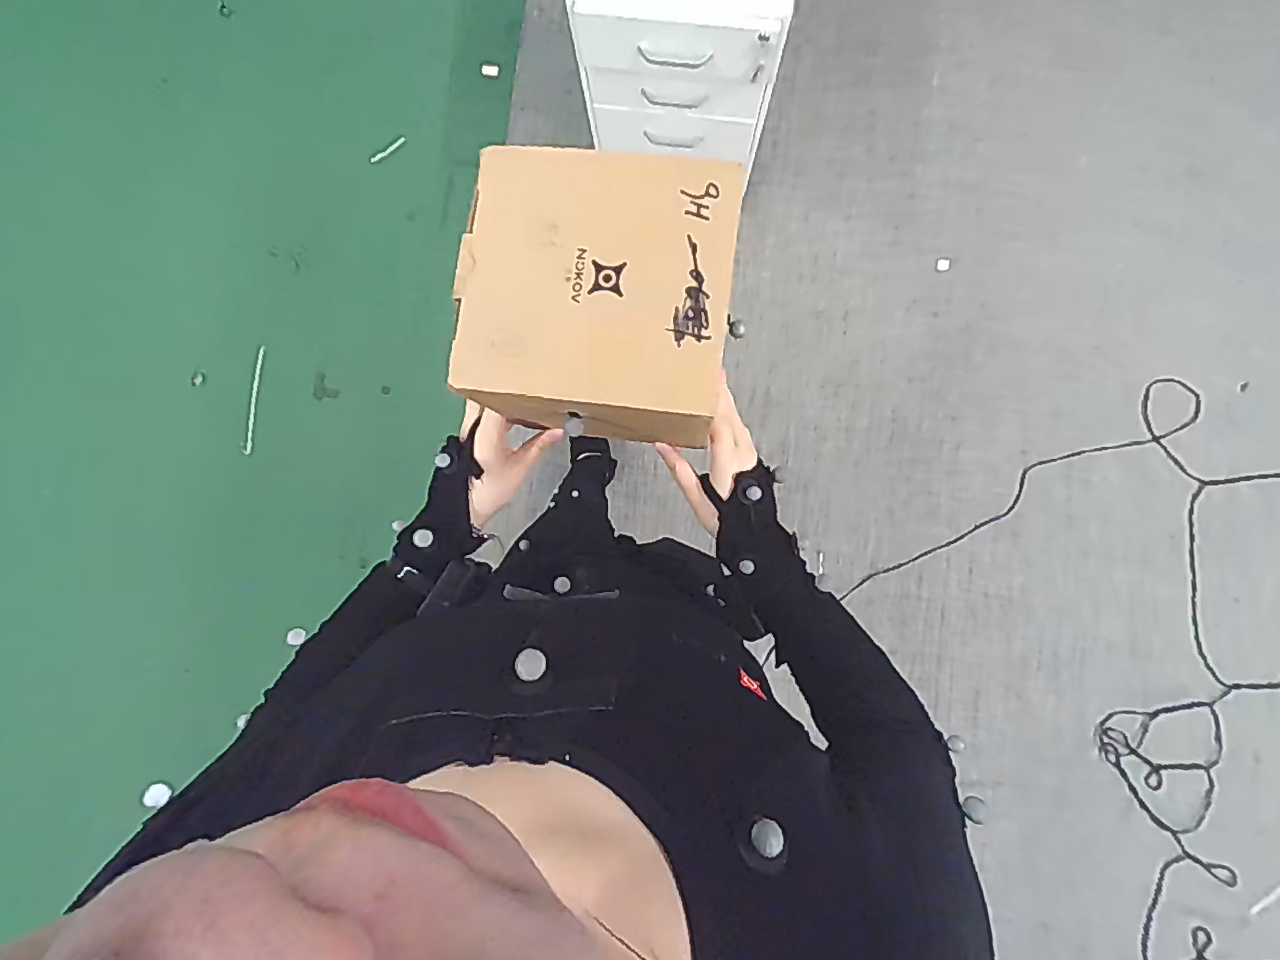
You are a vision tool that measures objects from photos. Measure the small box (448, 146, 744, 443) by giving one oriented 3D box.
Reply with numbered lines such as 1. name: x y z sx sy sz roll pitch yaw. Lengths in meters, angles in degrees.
1. small box: -0.022 -0.128 0.430 0.179 0.176 0.168 8 87 6
